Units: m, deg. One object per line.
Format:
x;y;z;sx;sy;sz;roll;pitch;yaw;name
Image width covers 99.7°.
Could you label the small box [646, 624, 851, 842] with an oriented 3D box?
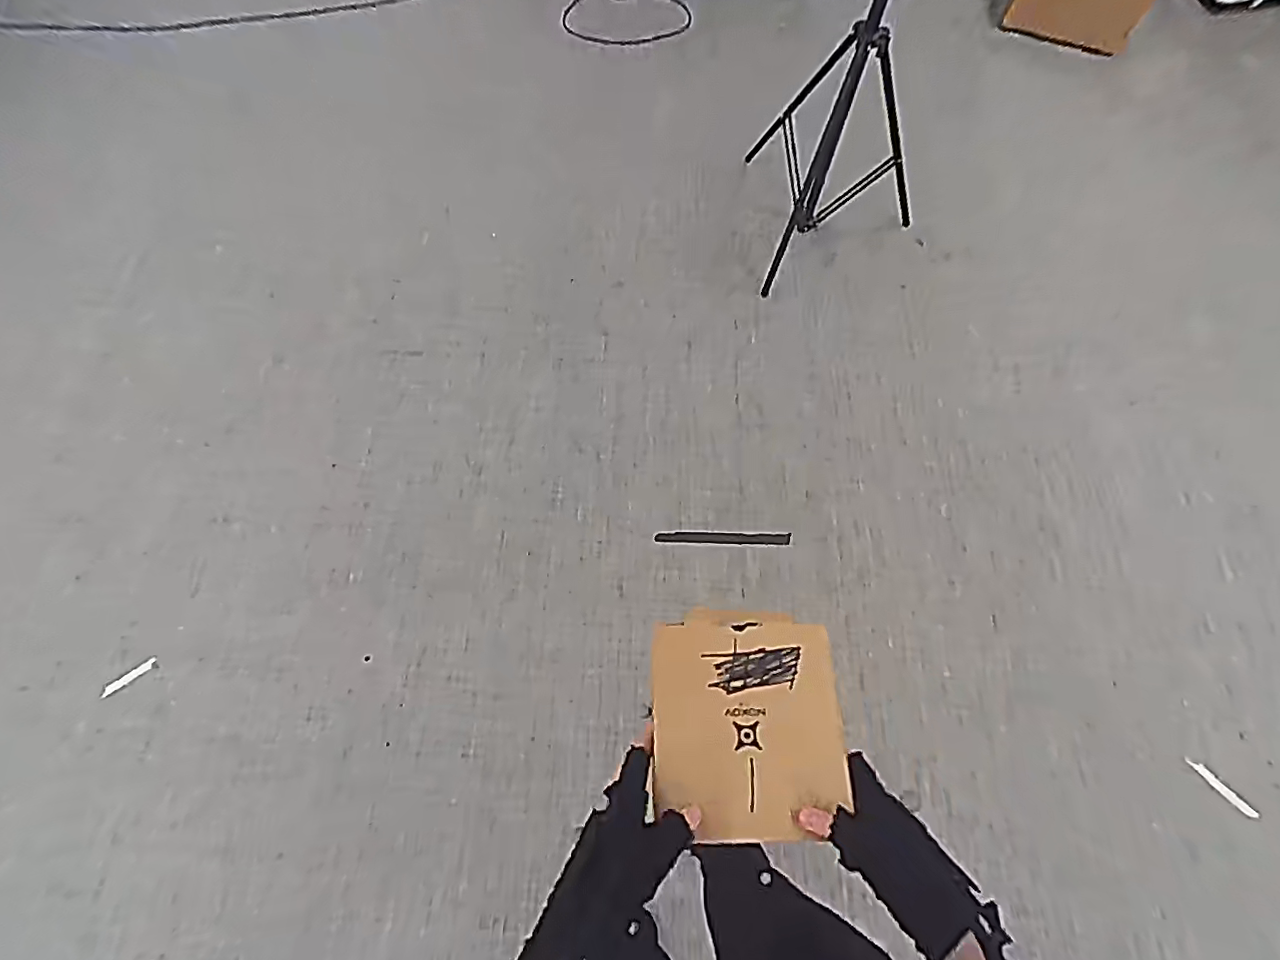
0.091;0.250;0.548;0.168;0.176;0.179;0;66;-1;small box
